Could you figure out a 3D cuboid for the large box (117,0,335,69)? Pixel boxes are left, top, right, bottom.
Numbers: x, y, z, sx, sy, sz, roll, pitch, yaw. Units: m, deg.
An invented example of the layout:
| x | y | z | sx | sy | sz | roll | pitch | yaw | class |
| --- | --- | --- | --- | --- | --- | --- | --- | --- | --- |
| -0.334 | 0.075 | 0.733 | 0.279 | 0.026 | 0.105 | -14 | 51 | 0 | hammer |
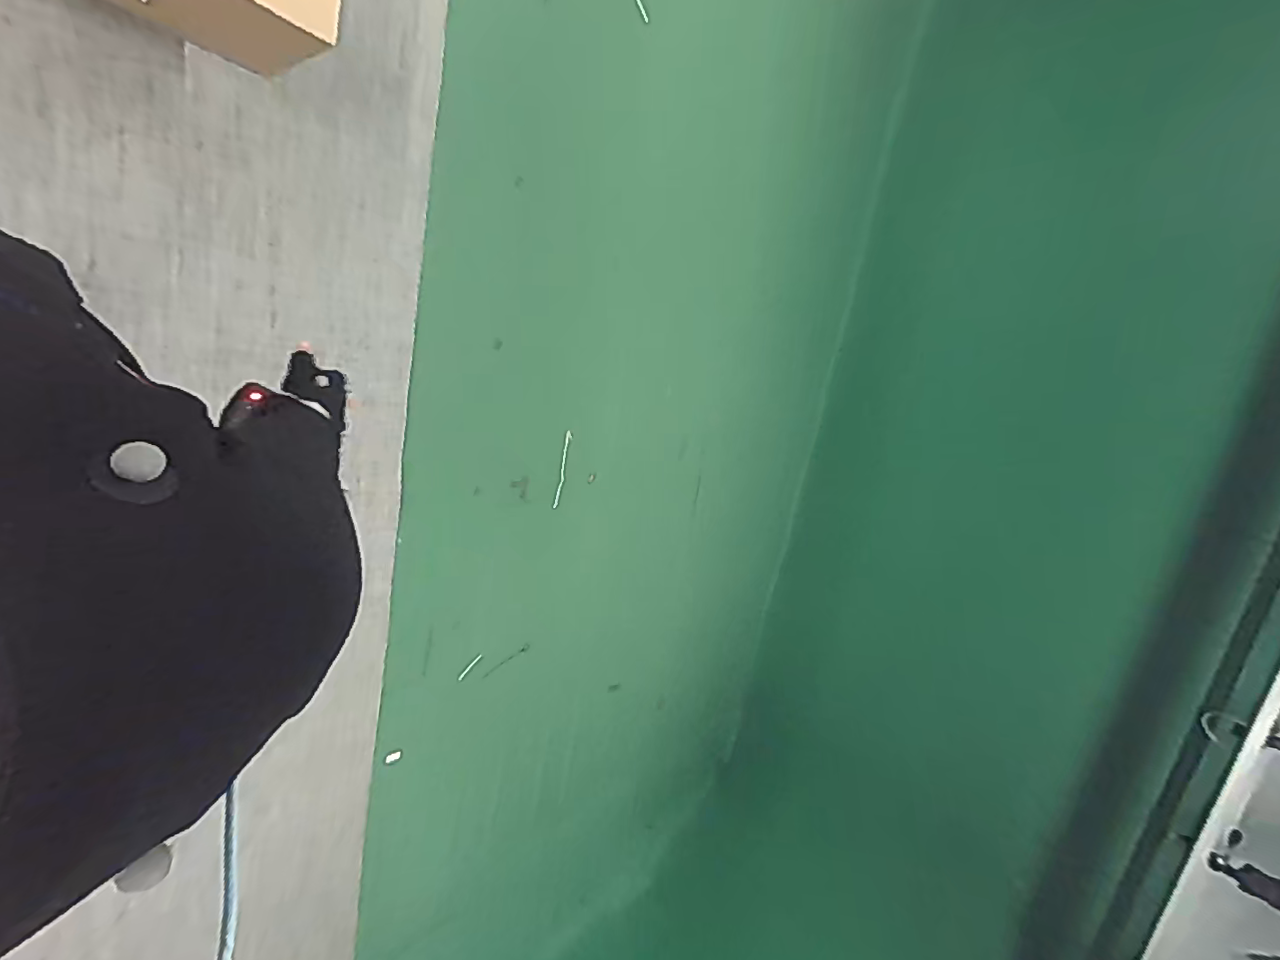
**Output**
| x | y | z | sx | sy | sz | roll | pitch | yaw | class |
| --- | --- | --- | --- | --- | --- | --- | --- | --- | --- |
| -0.692 | -0.871 | 0.759 | 0.408 | 0.320 | 0.320 | -2 | 107 | -51 | large box |
